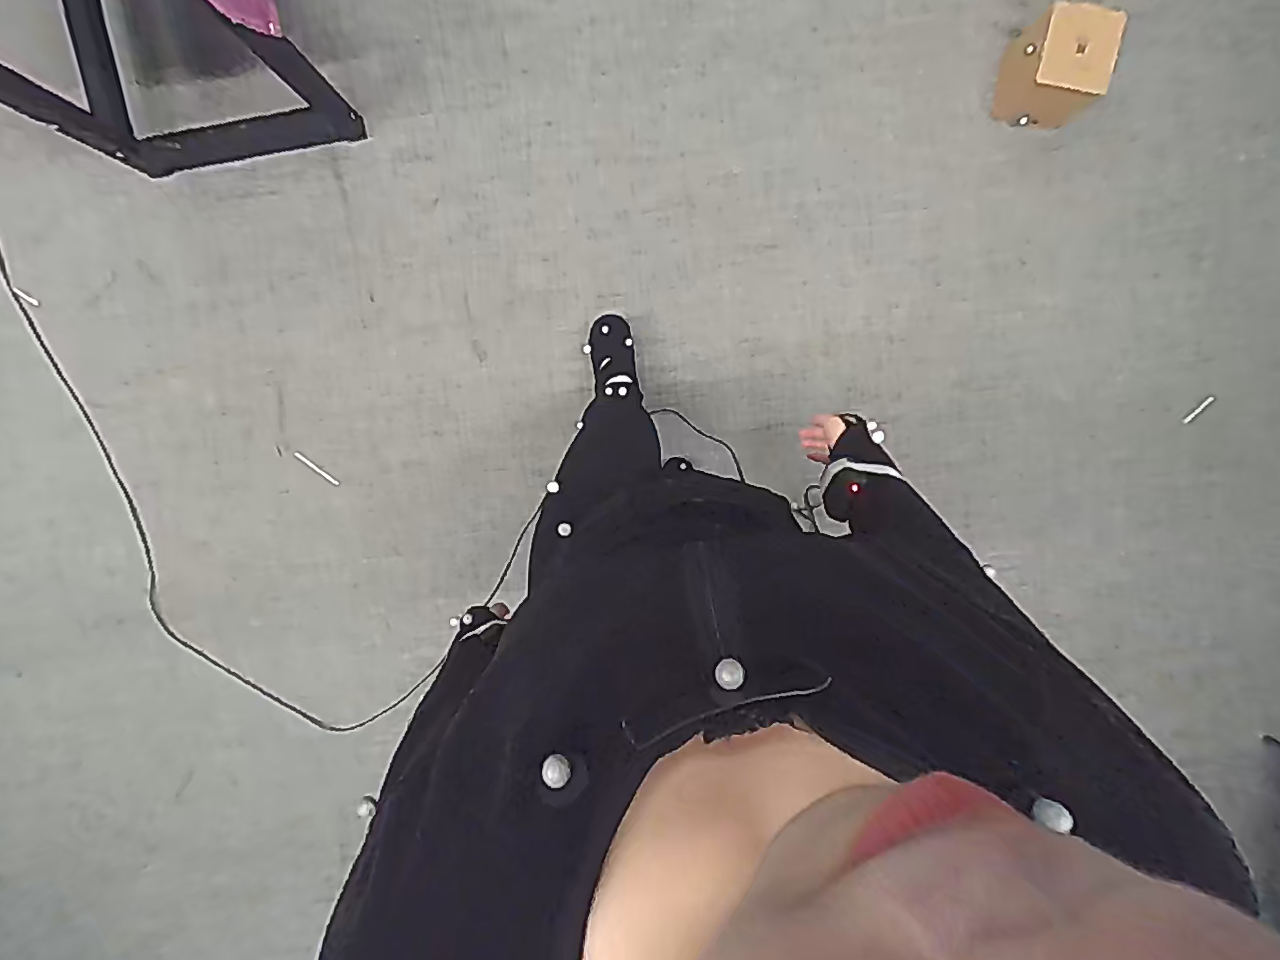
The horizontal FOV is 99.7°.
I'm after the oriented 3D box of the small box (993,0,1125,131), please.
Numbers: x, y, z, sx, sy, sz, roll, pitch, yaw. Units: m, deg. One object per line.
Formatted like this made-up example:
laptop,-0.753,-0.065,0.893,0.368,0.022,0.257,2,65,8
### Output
small box,0.985,-0.978,1.289,0.168,0.176,0.179,11,97,-1
